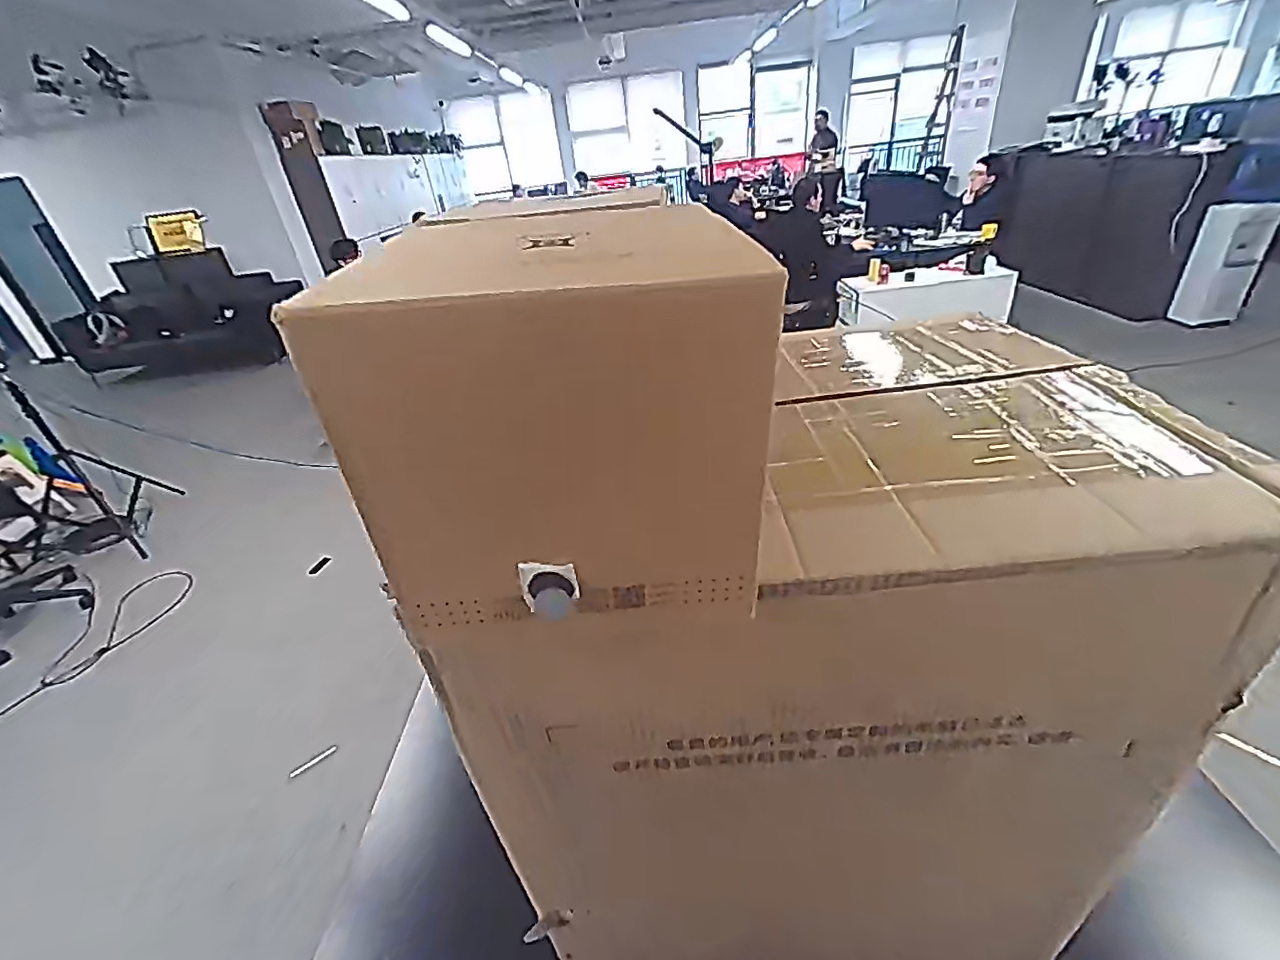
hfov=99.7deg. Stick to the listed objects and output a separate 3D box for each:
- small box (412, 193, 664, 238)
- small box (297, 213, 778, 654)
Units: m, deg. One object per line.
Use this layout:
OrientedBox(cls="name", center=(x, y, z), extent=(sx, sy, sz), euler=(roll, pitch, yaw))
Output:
OrientedBox(cls="small box", center=(-0.058, -0.136, 0.456), extent=(0.168, 0.176, 0.179), euler=(-4, 31, 5))
OrientedBox(cls="small box", center=(-0.036, -0.035, 0.293), extent=(0.168, 0.176, 0.179), euler=(-7, 35, -2))
